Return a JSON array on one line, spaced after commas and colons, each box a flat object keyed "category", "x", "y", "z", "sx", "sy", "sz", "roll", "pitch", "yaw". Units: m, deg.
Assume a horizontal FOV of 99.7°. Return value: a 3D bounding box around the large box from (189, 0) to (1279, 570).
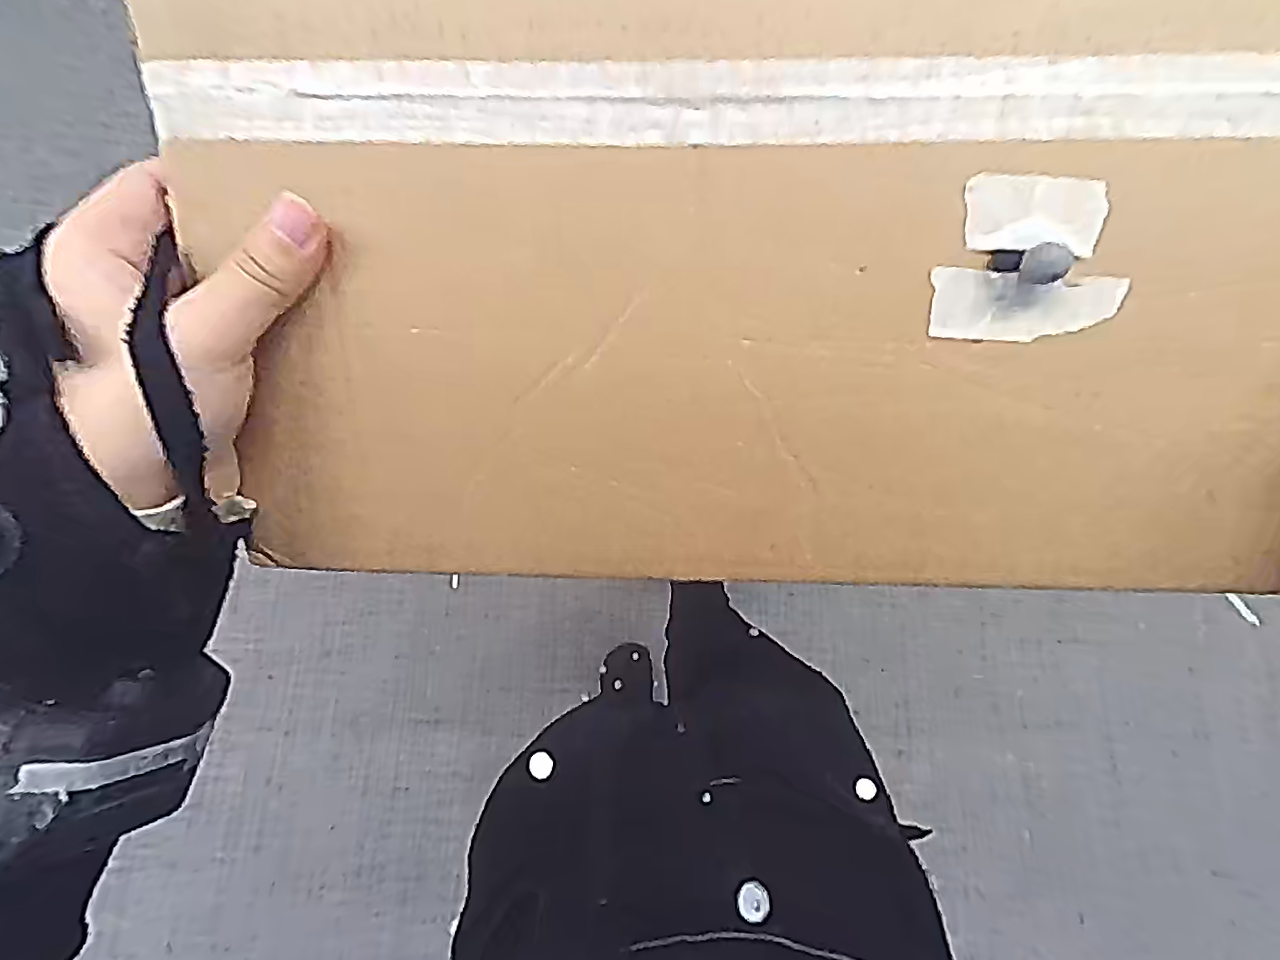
[{"category": "large box", "x": 0.056, "y": -0.151, "z": 0.320, "sx": 0.408, "sy": 0.320, "sz": 0.320, "roll": 0, "pitch": 106, "yaw": 1}]
